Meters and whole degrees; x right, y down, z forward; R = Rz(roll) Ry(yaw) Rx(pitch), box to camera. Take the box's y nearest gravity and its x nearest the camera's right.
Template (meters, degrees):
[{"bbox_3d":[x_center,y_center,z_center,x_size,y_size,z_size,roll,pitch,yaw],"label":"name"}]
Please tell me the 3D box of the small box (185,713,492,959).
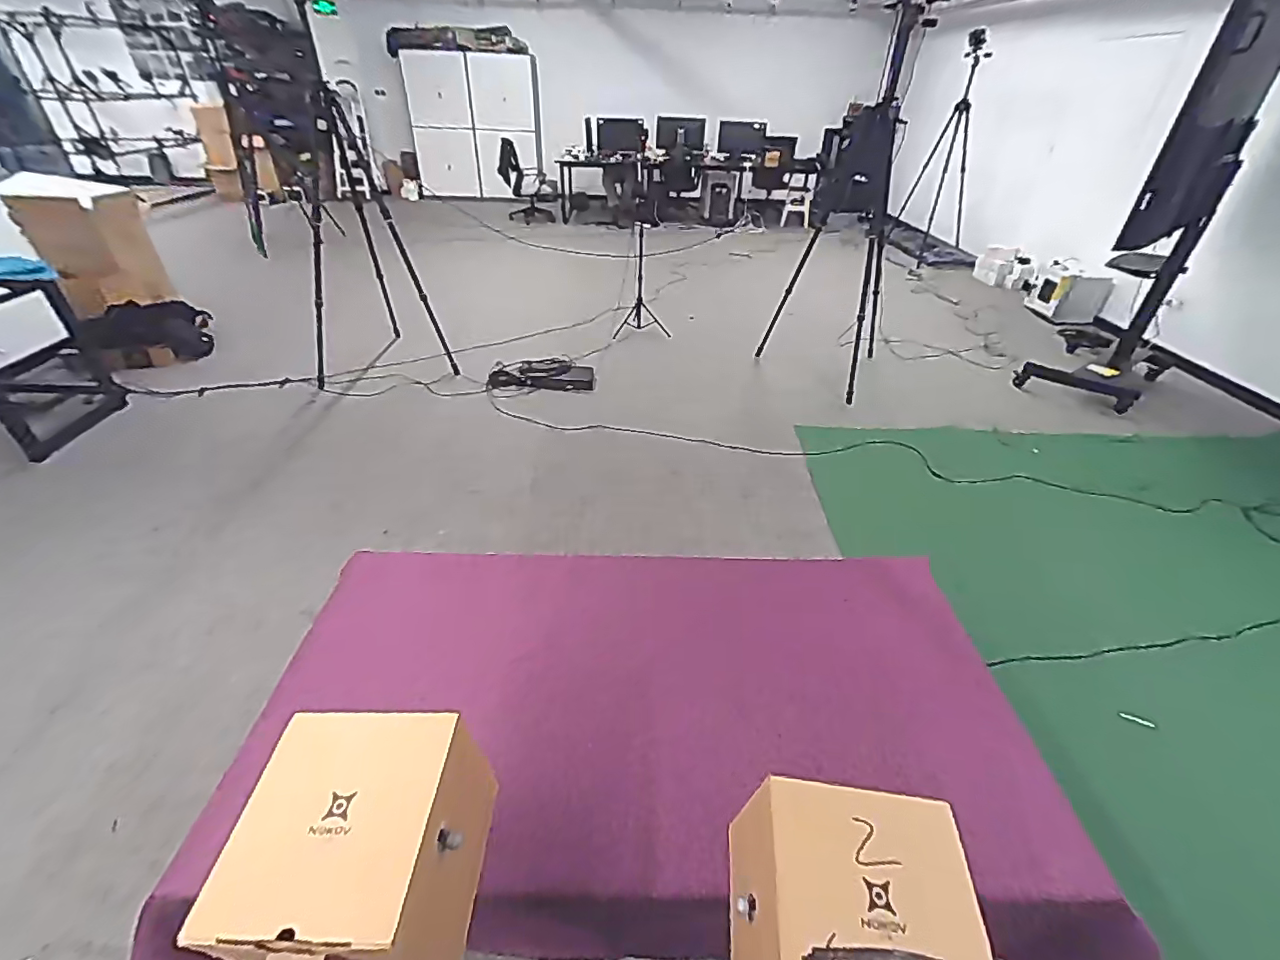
[{"bbox_3d":[-0.249,0.344,0.507,0.168,0.176,0.179,-1,41,3],"label":"small box"}]
